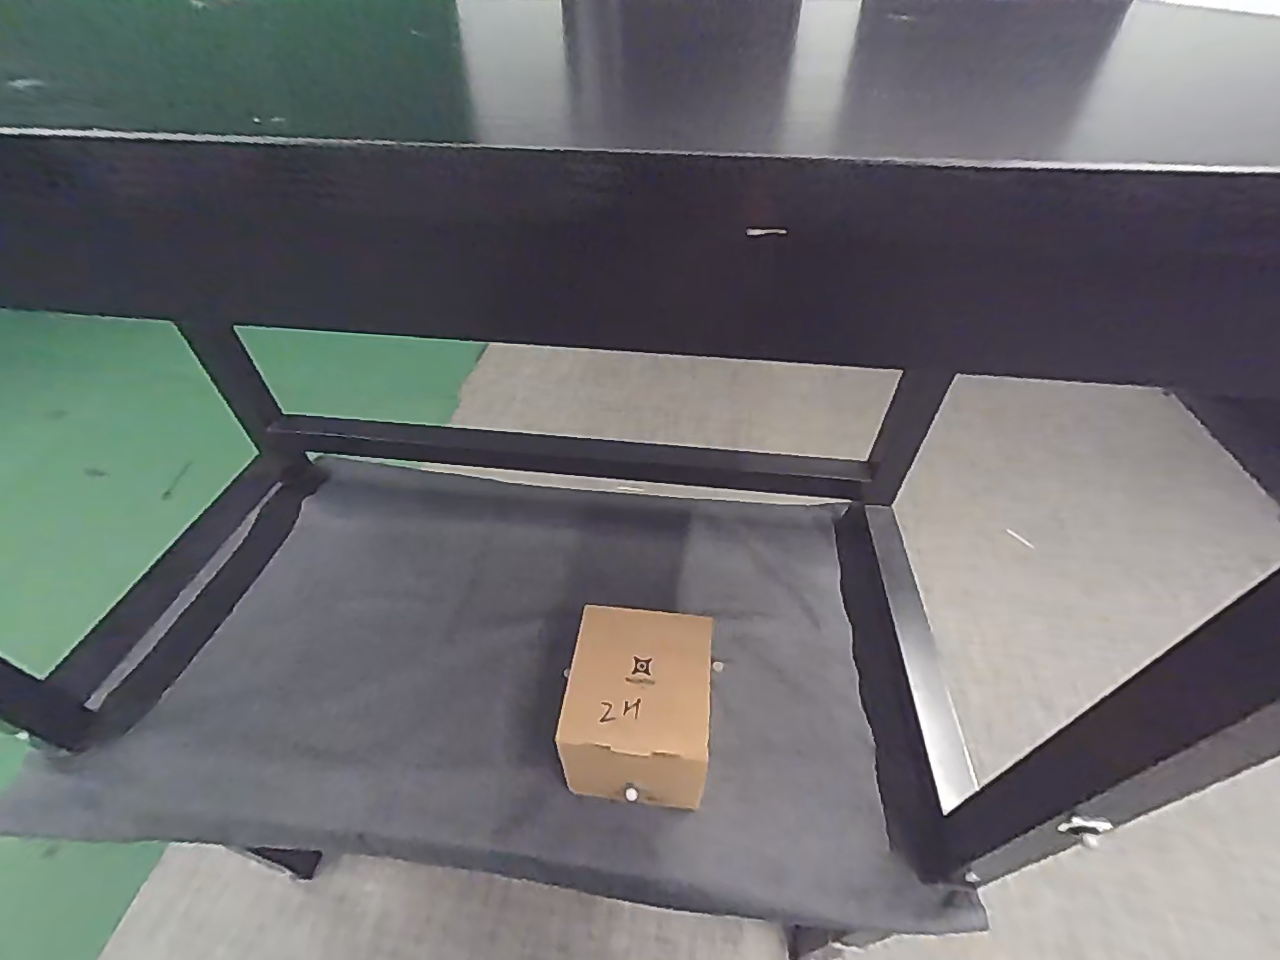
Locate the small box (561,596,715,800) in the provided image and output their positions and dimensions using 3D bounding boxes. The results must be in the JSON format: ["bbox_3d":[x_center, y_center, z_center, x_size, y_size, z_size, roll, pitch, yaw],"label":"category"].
[{"bbox_3d":[0.004,0.276,0.690,0.168,0.176,0.179,4,43,6],"label":"small box"}]
